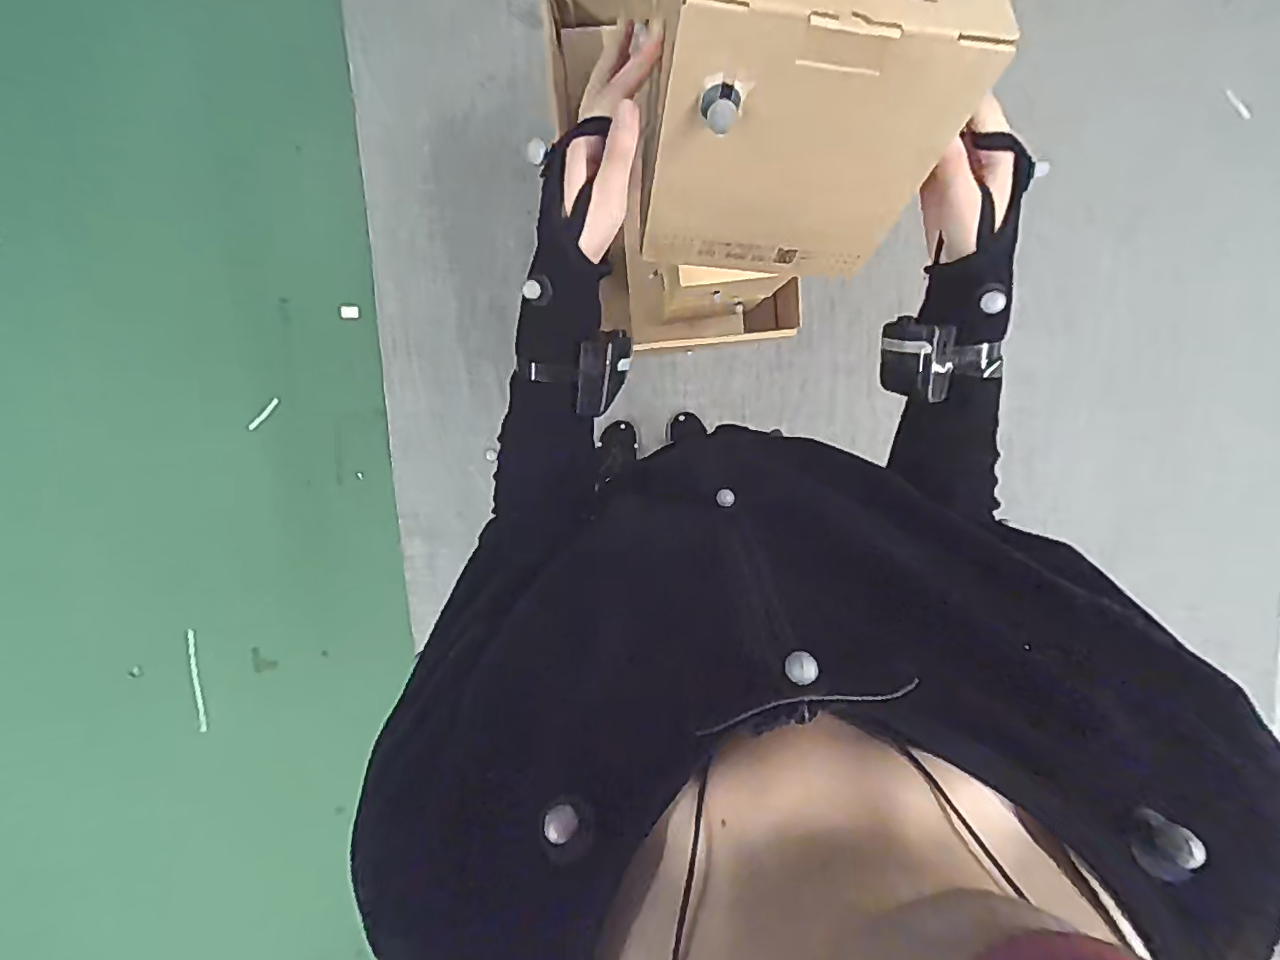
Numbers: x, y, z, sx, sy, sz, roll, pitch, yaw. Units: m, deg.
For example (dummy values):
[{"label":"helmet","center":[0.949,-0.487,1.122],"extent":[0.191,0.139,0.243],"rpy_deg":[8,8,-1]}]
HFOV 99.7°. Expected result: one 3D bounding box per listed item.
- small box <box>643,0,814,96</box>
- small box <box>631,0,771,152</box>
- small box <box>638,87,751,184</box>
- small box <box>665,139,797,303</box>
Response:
[{"label":"small box","center":[0.090,-0.573,0.617],"extent":[0.168,0.176,0.179],"rpy_deg":[-7,100,0]},{"label":"small box","center":[0.082,-0.601,0.778],"extent":[0.168,0.176,0.179],"rpy_deg":[-10,99,1]},{"label":"small box","center":[0.088,-0.636,0.938],"extent":[0.168,0.176,0.179],"rpy_deg":[-8,101,1]},{"label":"small box","center":[0.127,-0.370,0.807],"extent":[0.168,0.176,0.179],"rpy_deg":[-6,97,1]}]
